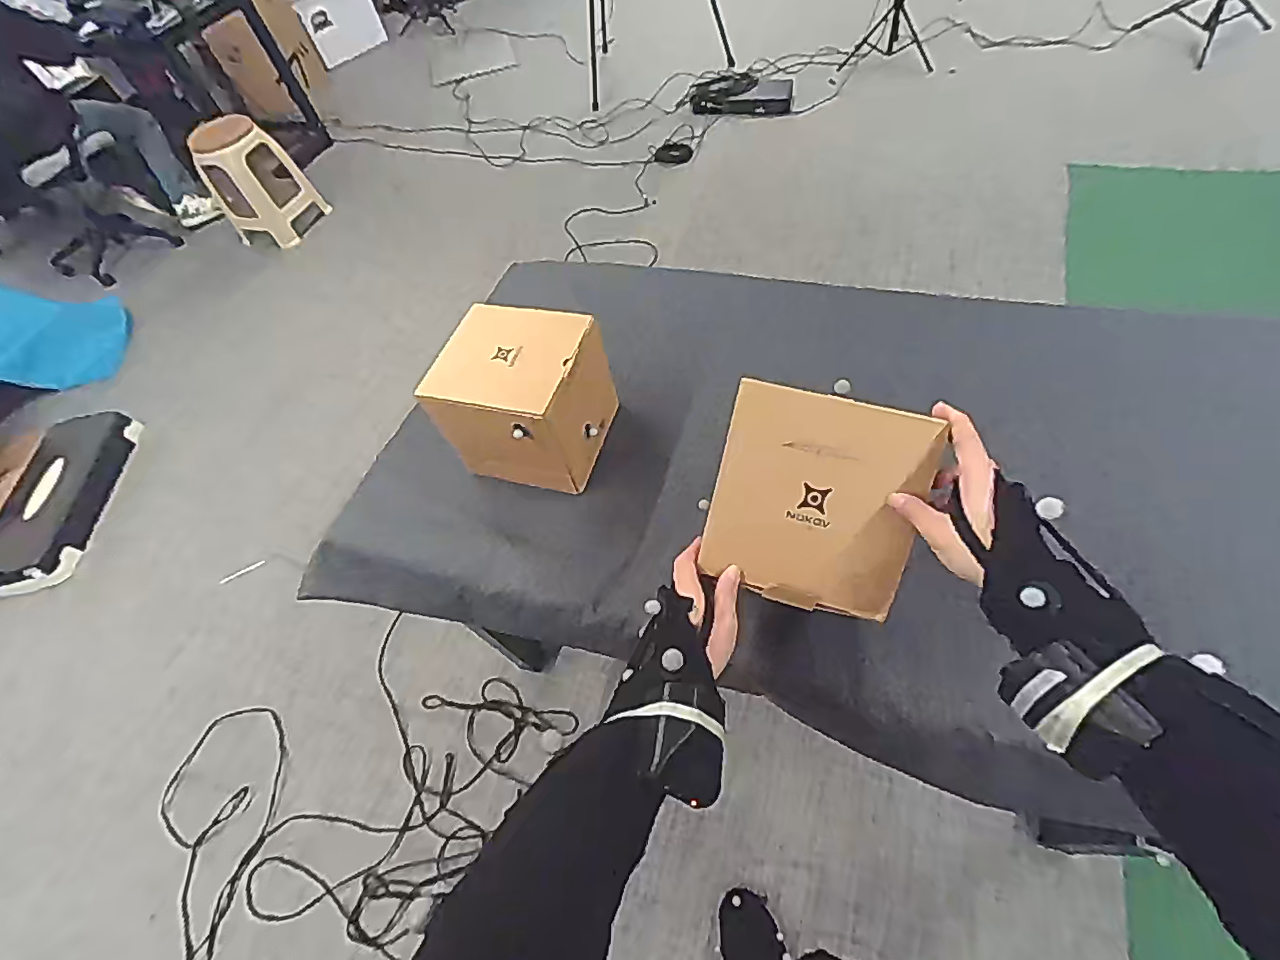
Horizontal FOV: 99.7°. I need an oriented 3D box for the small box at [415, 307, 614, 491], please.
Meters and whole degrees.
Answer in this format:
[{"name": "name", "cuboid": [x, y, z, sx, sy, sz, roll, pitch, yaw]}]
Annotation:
[{"name": "small box", "cuboid": [-0.150, -0.104, 0.716, 0.179, 0.176, 0.168, 11, 59, 15]}]
